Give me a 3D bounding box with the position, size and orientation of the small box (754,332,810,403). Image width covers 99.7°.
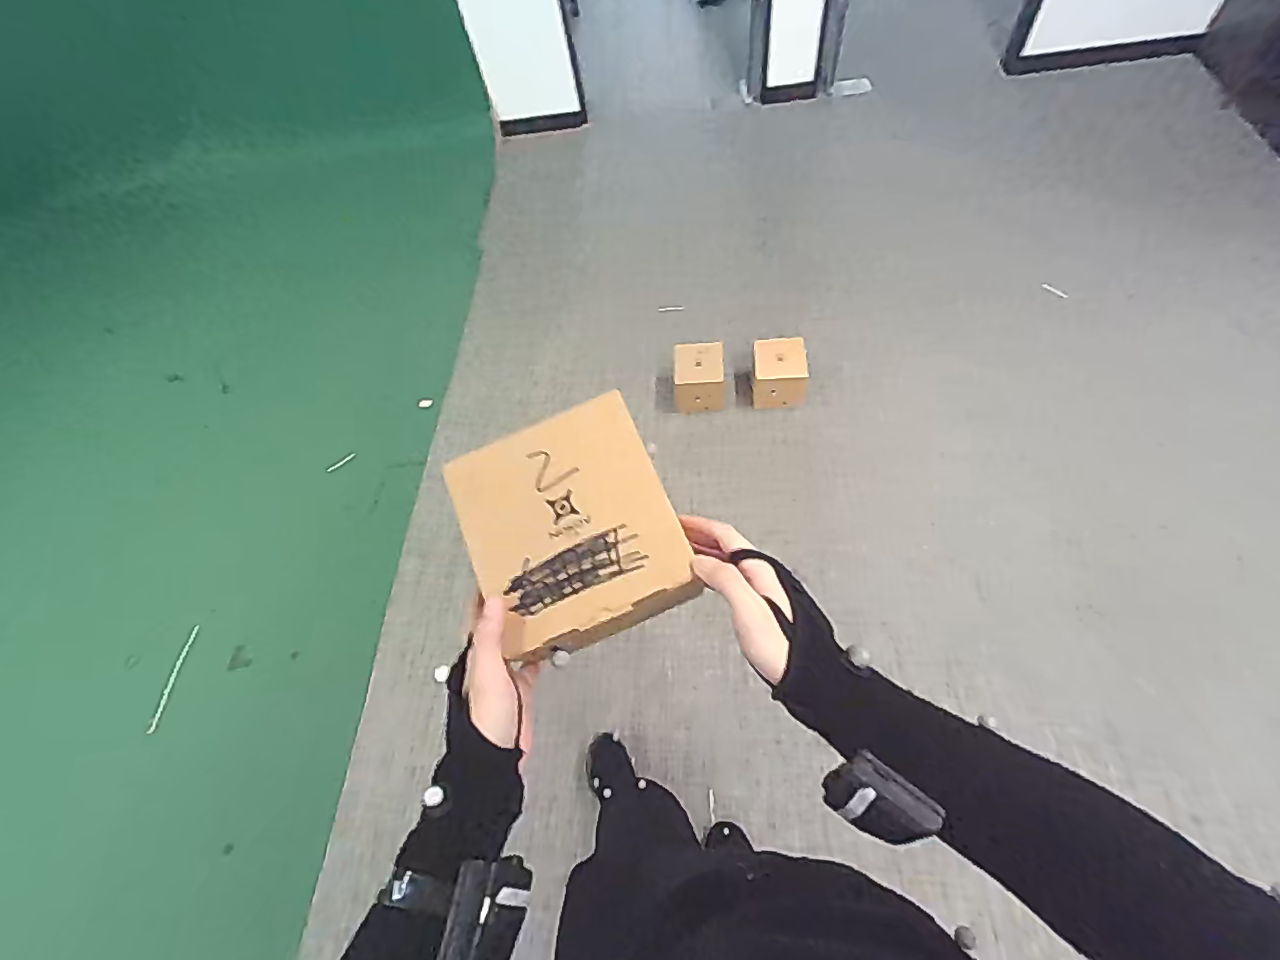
[{"bbox_3d":[0.478,-0.375,1.833,0.168,0.176,0.179,0,61,8],"label":"small box"}]

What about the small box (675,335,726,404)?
[{"bbox_3d":[0.212,-0.375,1.864,0.168,0.176,0.179,1,61,7],"label":"small box"}]
